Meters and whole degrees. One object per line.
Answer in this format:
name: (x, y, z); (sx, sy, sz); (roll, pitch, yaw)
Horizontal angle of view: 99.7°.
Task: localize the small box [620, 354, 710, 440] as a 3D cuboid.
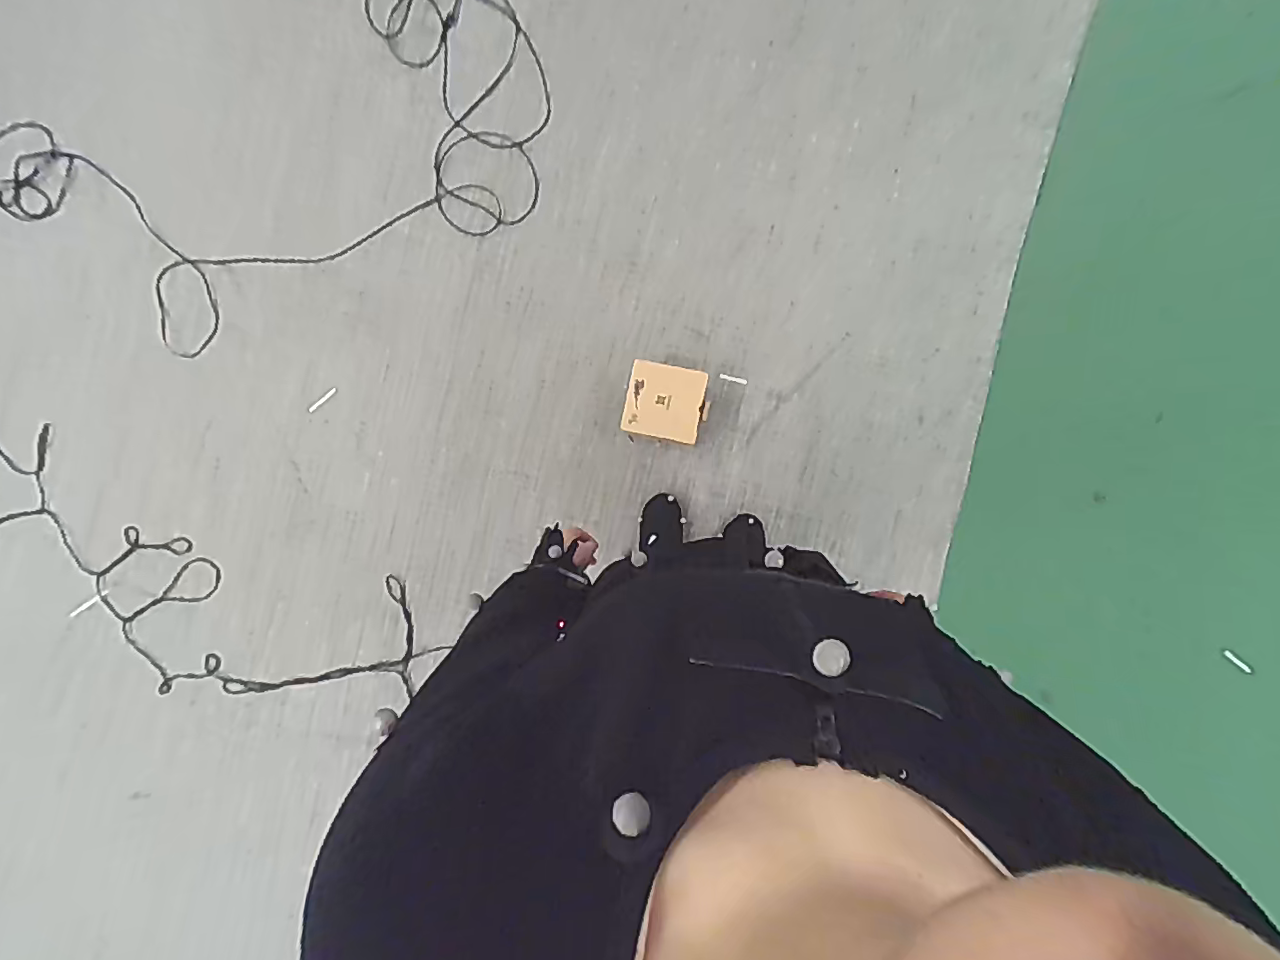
small box: (0.061, -0.192, 1.295); (0.179, 0.176, 0.168); (12, 93, 4)
